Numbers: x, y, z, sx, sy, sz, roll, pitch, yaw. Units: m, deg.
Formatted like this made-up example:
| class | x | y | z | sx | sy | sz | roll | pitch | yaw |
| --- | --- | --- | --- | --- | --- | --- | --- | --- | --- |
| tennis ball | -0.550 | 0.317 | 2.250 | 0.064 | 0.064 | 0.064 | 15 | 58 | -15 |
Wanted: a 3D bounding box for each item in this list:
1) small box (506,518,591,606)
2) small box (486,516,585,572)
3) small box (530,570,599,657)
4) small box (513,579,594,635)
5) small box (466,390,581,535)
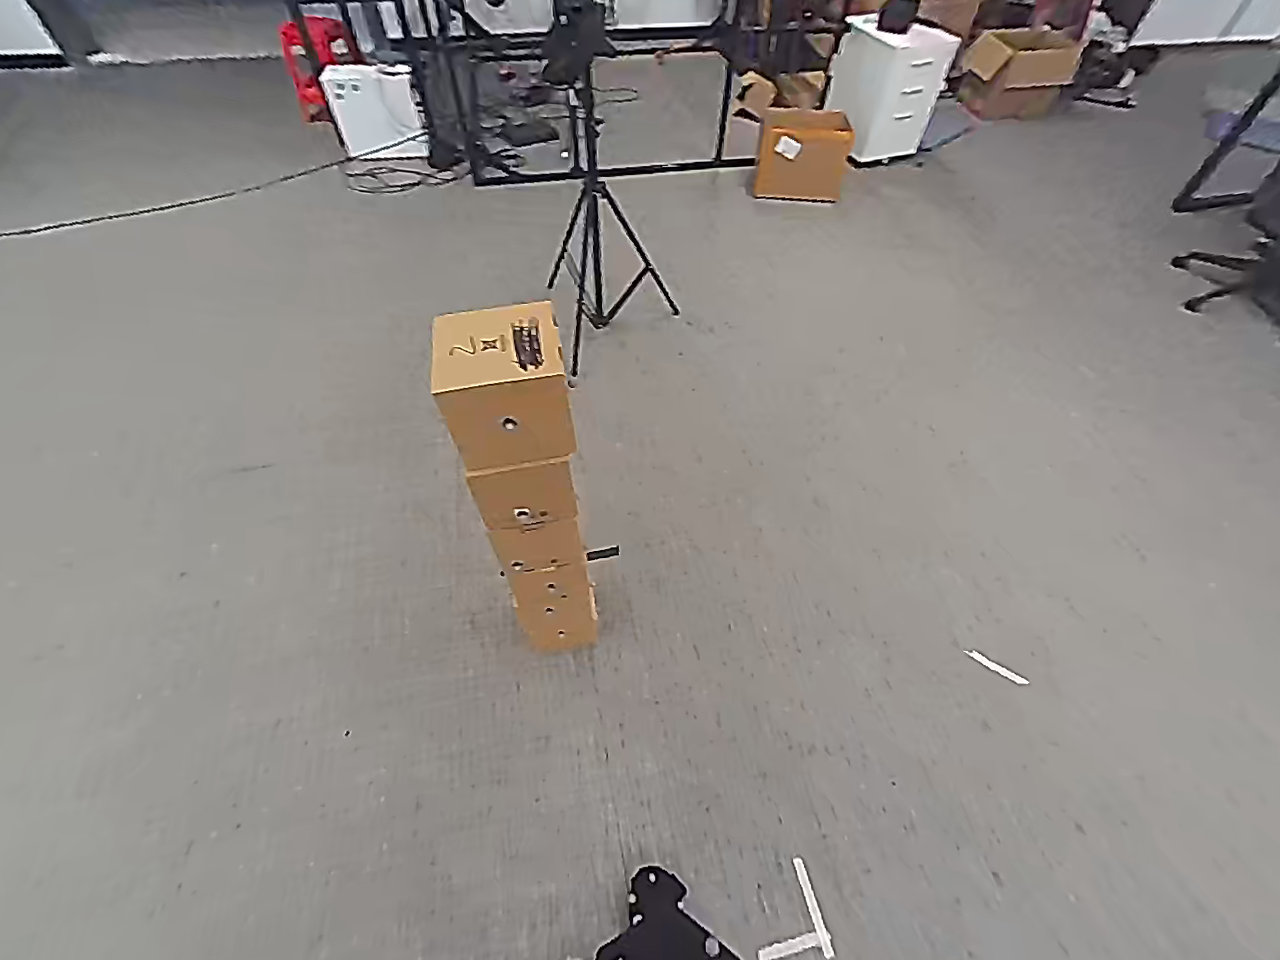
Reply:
| class | x | y | z | sx | sy | sz | roll | pitch | yaw |
| --- | --- | --- | --- | --- | --- | --- | --- | --- | --- |
| small box | -0.202 | 0.168 | 1.205 | 0.168 | 0.176 | 0.179 | -7 | 55 | -6 |
| small box | -0.204 | 0.069 | 1.074 | 0.168 | 0.176 | 0.179 | -8 | 53 | -6 |
| small box | -0.207 | 0.364 | 1.468 | 0.179 | 0.176 | 0.168 | -9 | 54 | -7 |
| small box | -0.211 | 0.269 | 1.333 | 0.179 | 0.176 | 0.168 | -7 | 55 | -5 |
| small box | -0.200 | -0.028 | 0.944 | 0.168 | 0.176 | 0.179 | -10 | 55 | -7 |
